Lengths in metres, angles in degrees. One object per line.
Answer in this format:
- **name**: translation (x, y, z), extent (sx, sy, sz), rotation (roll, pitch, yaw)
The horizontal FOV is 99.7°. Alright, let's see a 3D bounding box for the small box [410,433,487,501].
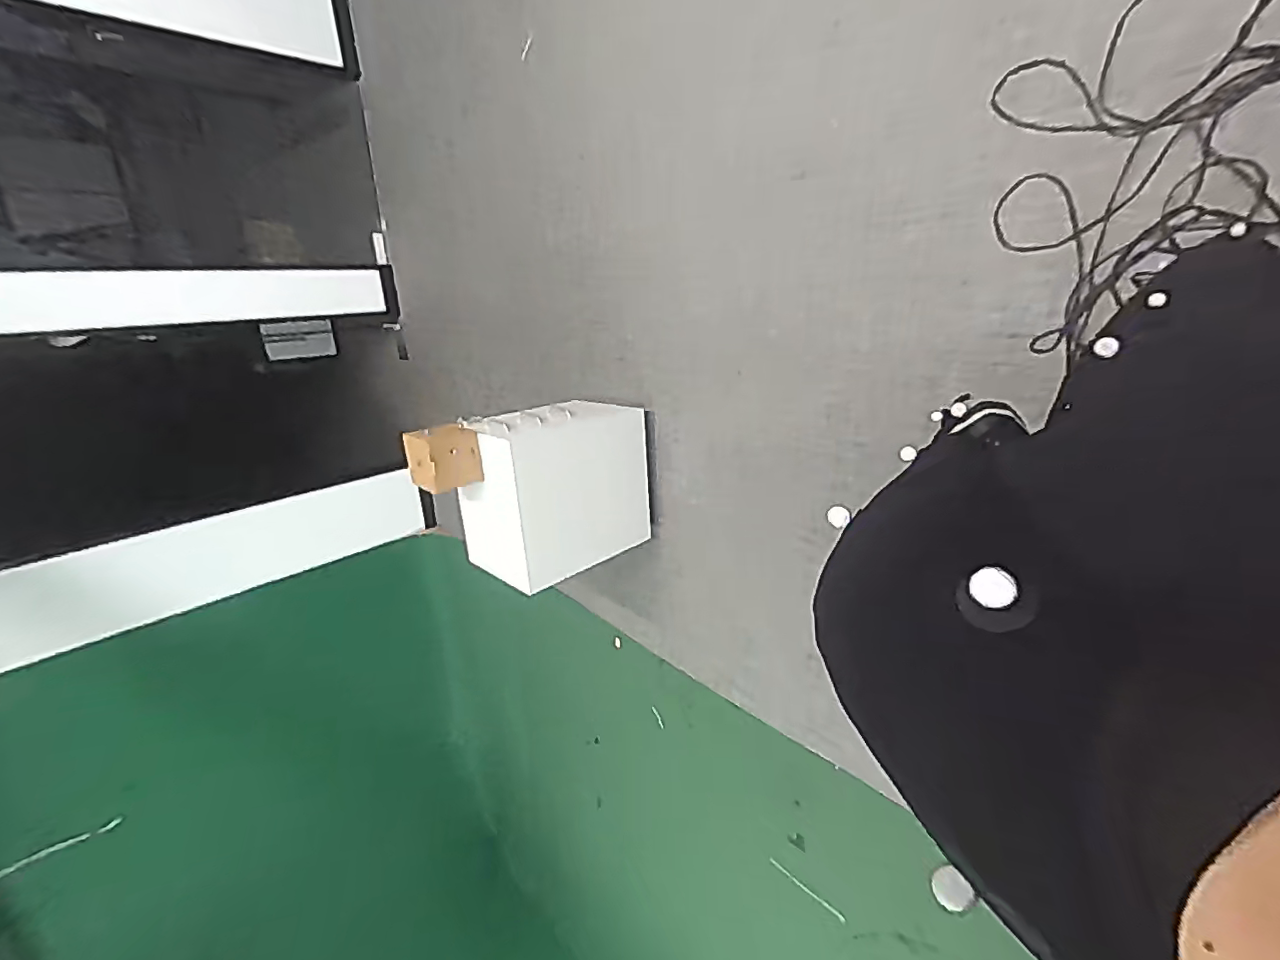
- **small box**: translation (-0.598, -0.049, 1.710), extent (0.179, 0.176, 0.168), rotation (14, 115, 44)
